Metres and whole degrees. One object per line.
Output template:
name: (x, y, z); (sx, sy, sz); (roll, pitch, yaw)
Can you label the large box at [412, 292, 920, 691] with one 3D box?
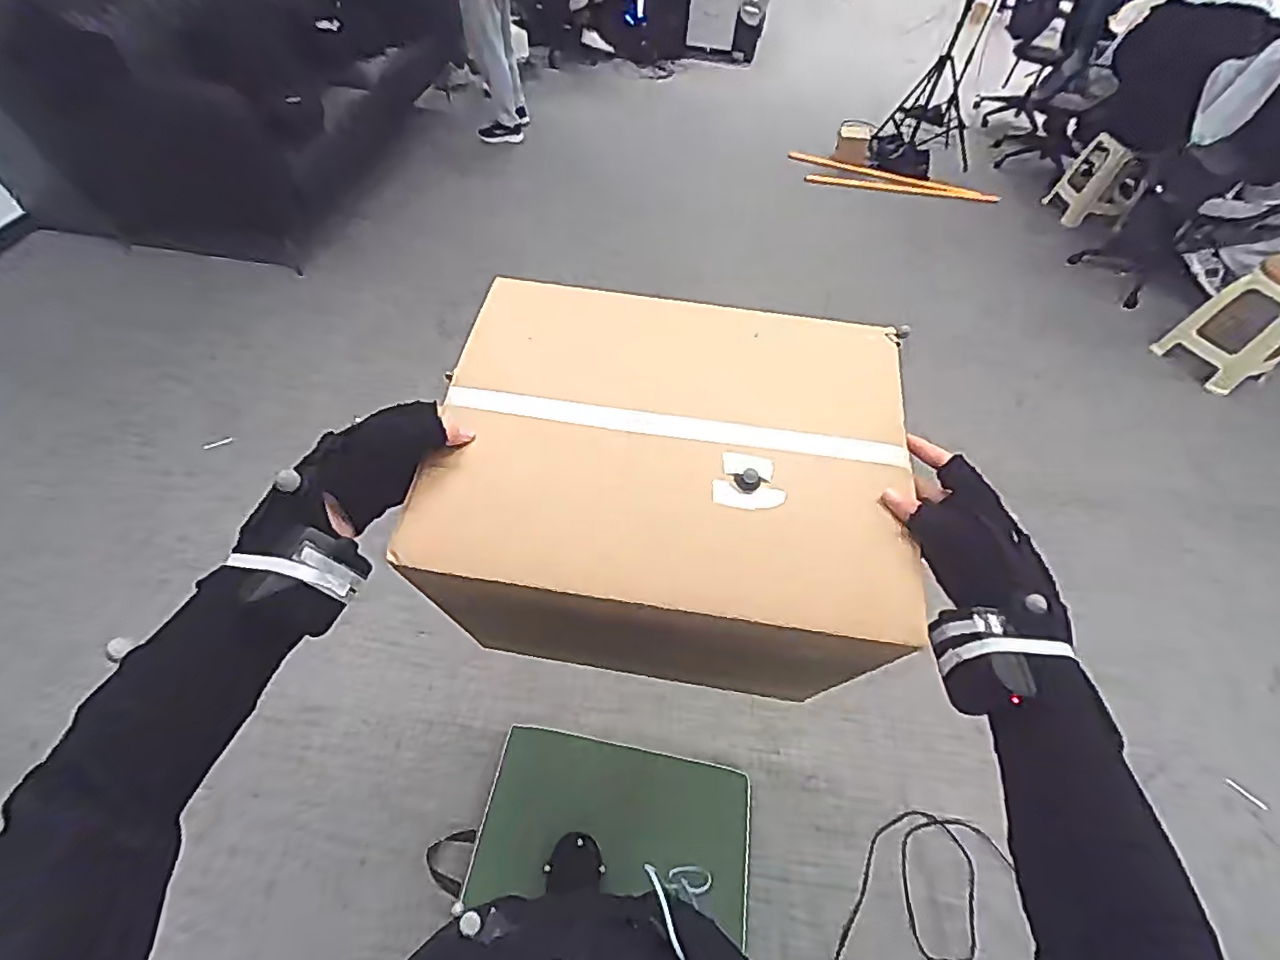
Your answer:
large box: (0.029, 0.031, 0.615); (0.408, 0.320, 0.320); (9, 61, 2)
